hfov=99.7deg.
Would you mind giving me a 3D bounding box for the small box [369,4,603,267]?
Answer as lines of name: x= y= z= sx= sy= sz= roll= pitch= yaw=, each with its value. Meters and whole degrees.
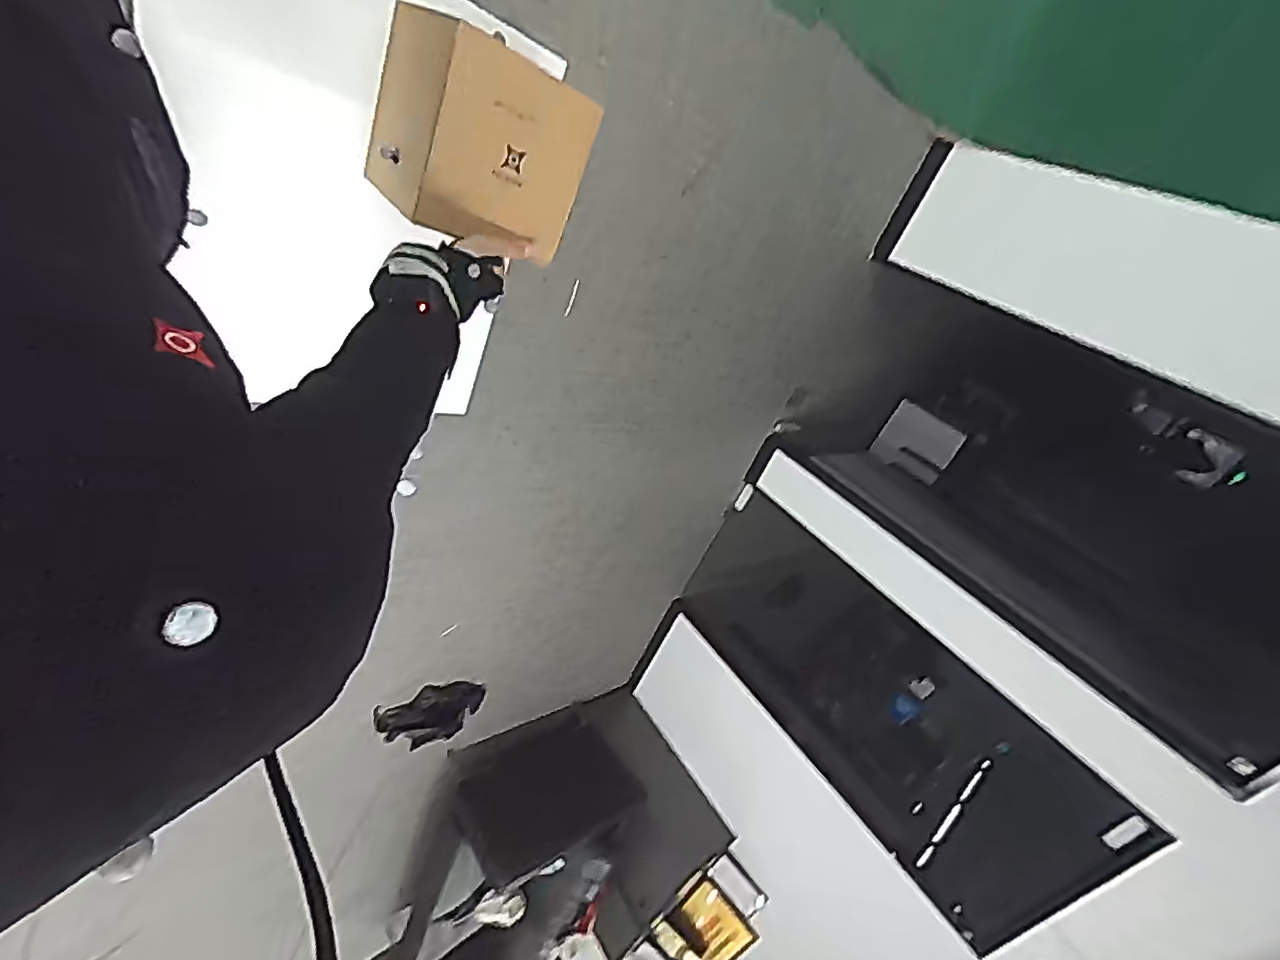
small box: x=-0.176 y=-0.367 z=0.590 sx=0.168 sy=0.176 sz=0.179 roll=-2 pitch=127 yaw=-46
